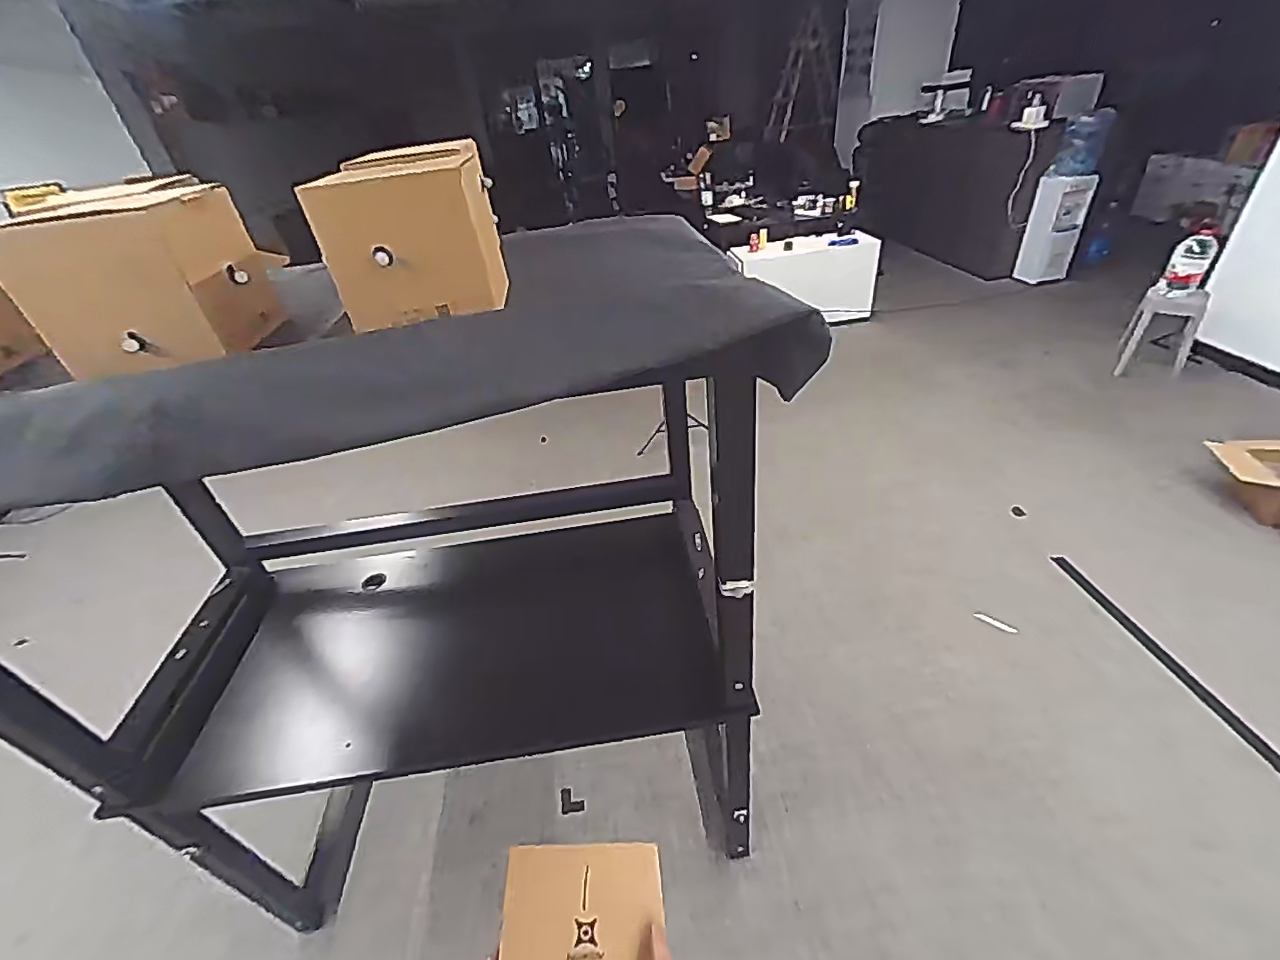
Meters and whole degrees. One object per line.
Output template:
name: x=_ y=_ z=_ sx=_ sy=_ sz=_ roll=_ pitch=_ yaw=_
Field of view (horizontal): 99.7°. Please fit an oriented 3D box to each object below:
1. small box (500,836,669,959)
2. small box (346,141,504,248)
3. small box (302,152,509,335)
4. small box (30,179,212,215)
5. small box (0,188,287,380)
small box: x=-0.063 y=0.512 z=0.578 sx=0.168 sy=0.176 sz=0.179 roll=5 pitch=35 yaw=-8
small box: x=-0.338 y=-0.444 z=0.889 sx=0.179 sy=0.176 sz=0.168 roll=-9 pitch=37 yaw=-1
small box: x=-0.263 y=-0.285 z=0.659 sx=0.168 sy=0.176 sz=0.179 roll=-10 pitch=35 yaw=-3
small box: x=-0.763 y=-0.365 z=0.858 sx=0.168 sy=0.176 sz=0.179 roll=-13 pitch=36 yaw=-6
small box: x=-0.568 y=-0.235 z=0.644 sx=0.179 sy=0.176 sz=0.168 roll=-9 pitch=35 yaw=-3
